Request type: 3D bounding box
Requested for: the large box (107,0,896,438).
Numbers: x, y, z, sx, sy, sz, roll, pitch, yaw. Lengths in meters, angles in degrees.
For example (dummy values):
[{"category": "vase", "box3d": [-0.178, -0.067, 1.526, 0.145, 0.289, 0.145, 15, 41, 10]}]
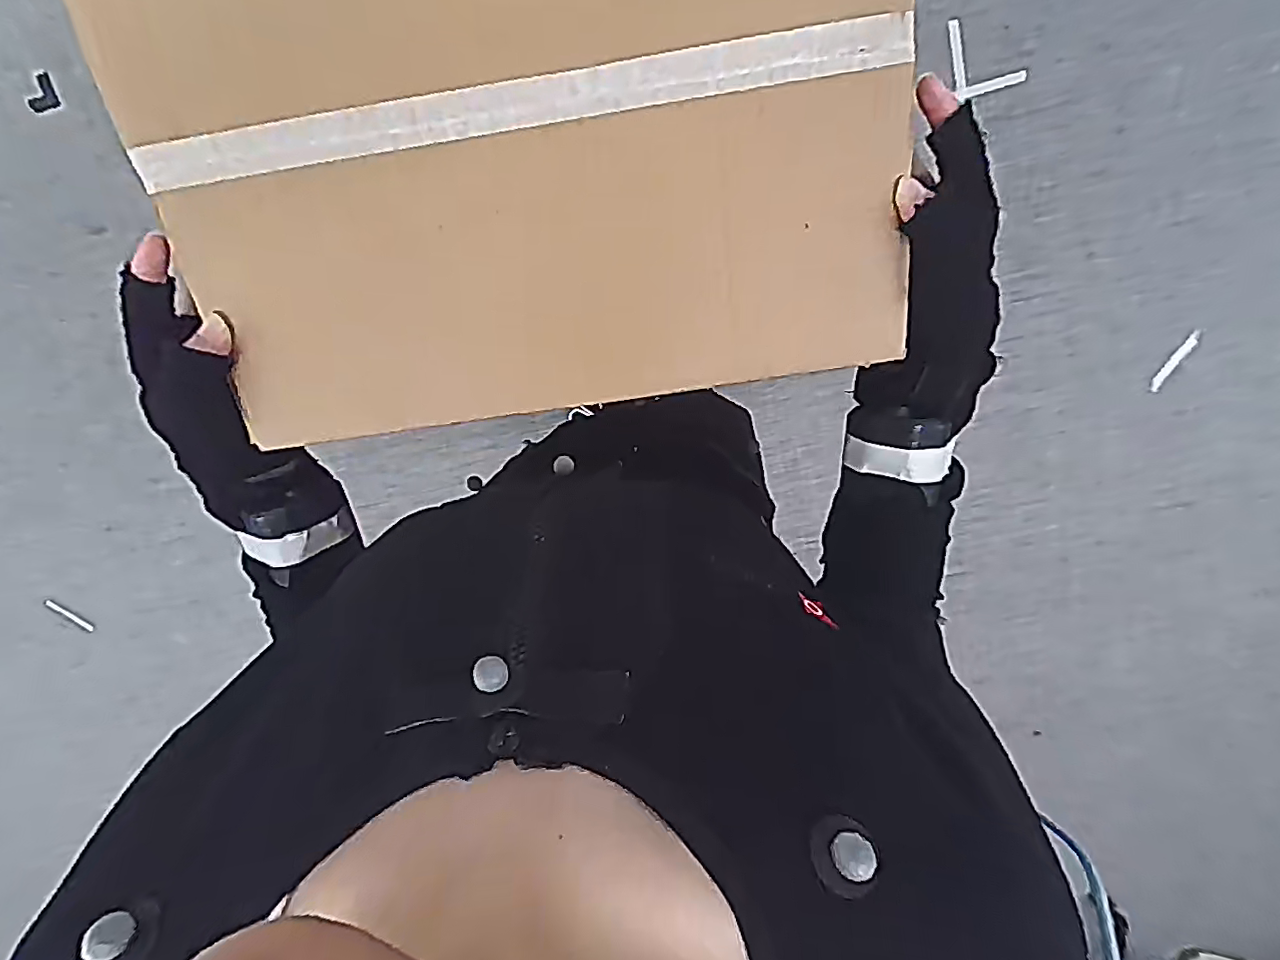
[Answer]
[{"category": "large box", "box3d": [-0.065, -0.247, 0.431, 0.408, 0.320, 0.320, -8, 111, 3]}]
